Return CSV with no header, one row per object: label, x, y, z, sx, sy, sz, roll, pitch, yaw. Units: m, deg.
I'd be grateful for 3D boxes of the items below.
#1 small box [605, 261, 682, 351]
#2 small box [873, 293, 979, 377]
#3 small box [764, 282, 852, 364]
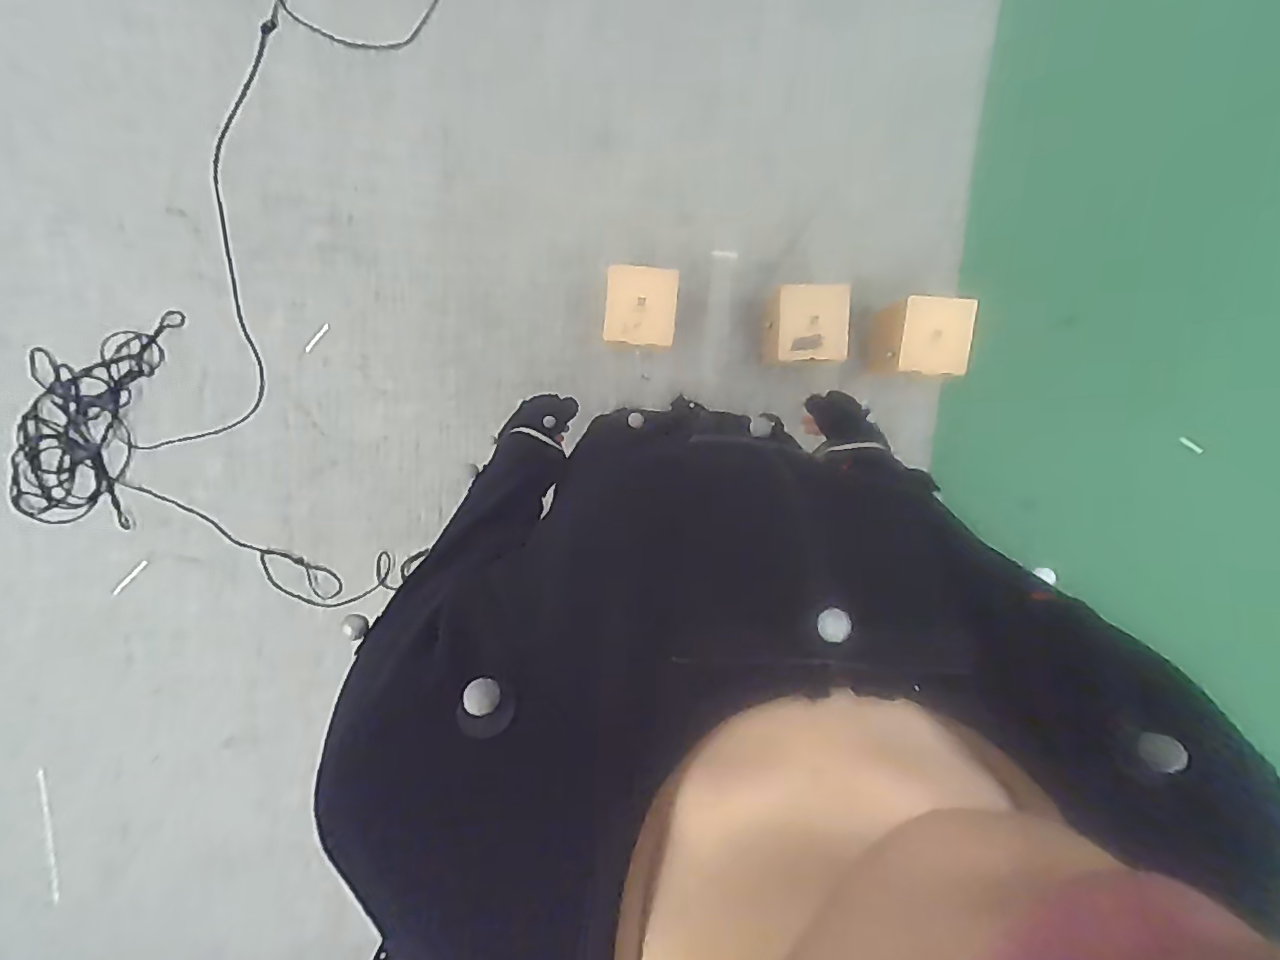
small box,0.007,-0.420,1.326,0.168,0.176,0.179,6,99,0
small box,0.698,-0.353,1.339,0.168,0.176,0.179,4,99,0
small box,0.407,-0.380,1.334,0.168,0.176,0.179,0,97,-1
